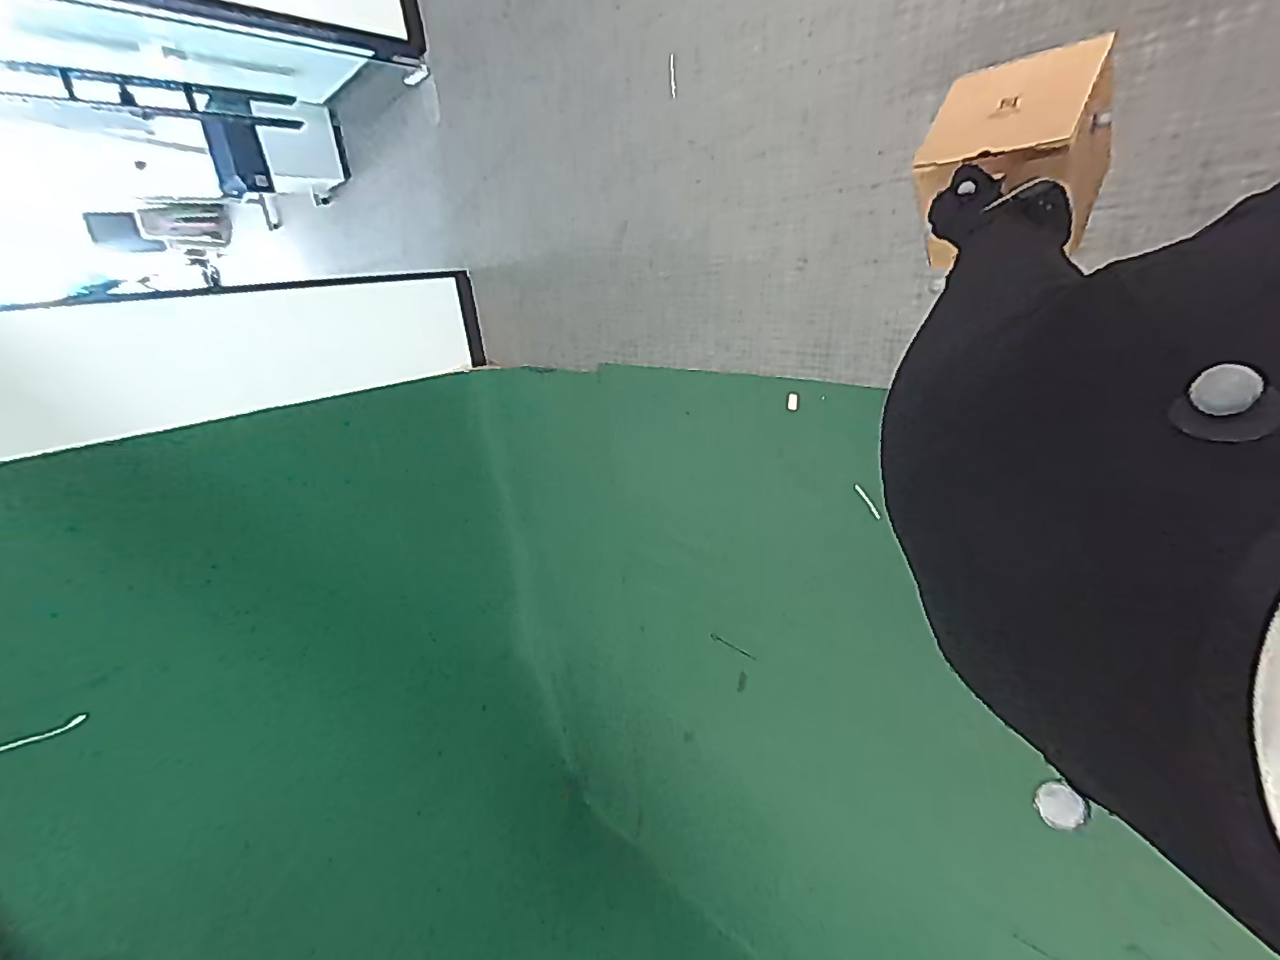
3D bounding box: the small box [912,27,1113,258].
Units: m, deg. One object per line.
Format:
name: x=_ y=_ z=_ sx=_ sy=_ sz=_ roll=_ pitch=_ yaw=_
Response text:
small box: x=0.481 y=-0.419 z=0.703 sx=0.168 sy=0.179 sz=0.176 roll=16 pitch=163 yaw=43
